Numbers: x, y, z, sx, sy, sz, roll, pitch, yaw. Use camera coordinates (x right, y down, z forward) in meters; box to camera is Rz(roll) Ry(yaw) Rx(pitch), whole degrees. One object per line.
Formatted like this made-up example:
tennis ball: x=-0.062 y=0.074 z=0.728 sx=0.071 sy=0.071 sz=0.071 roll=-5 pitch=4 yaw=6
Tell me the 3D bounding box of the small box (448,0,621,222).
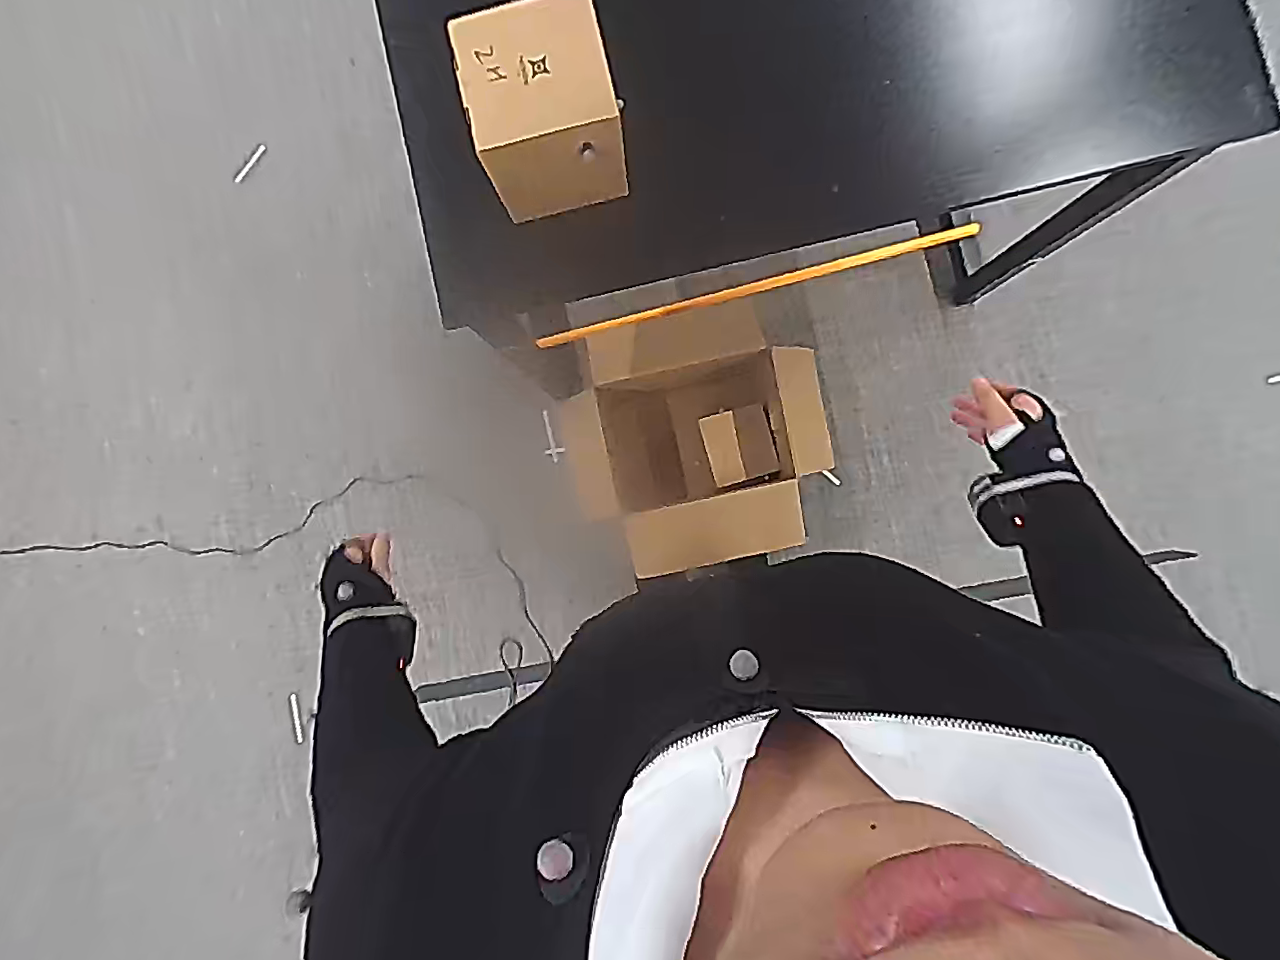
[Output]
small box: x=-0.126 y=-0.477 z=0.718 sx=0.179 sy=0.176 sz=0.168 roll=-14 pitch=87 yaw=2
